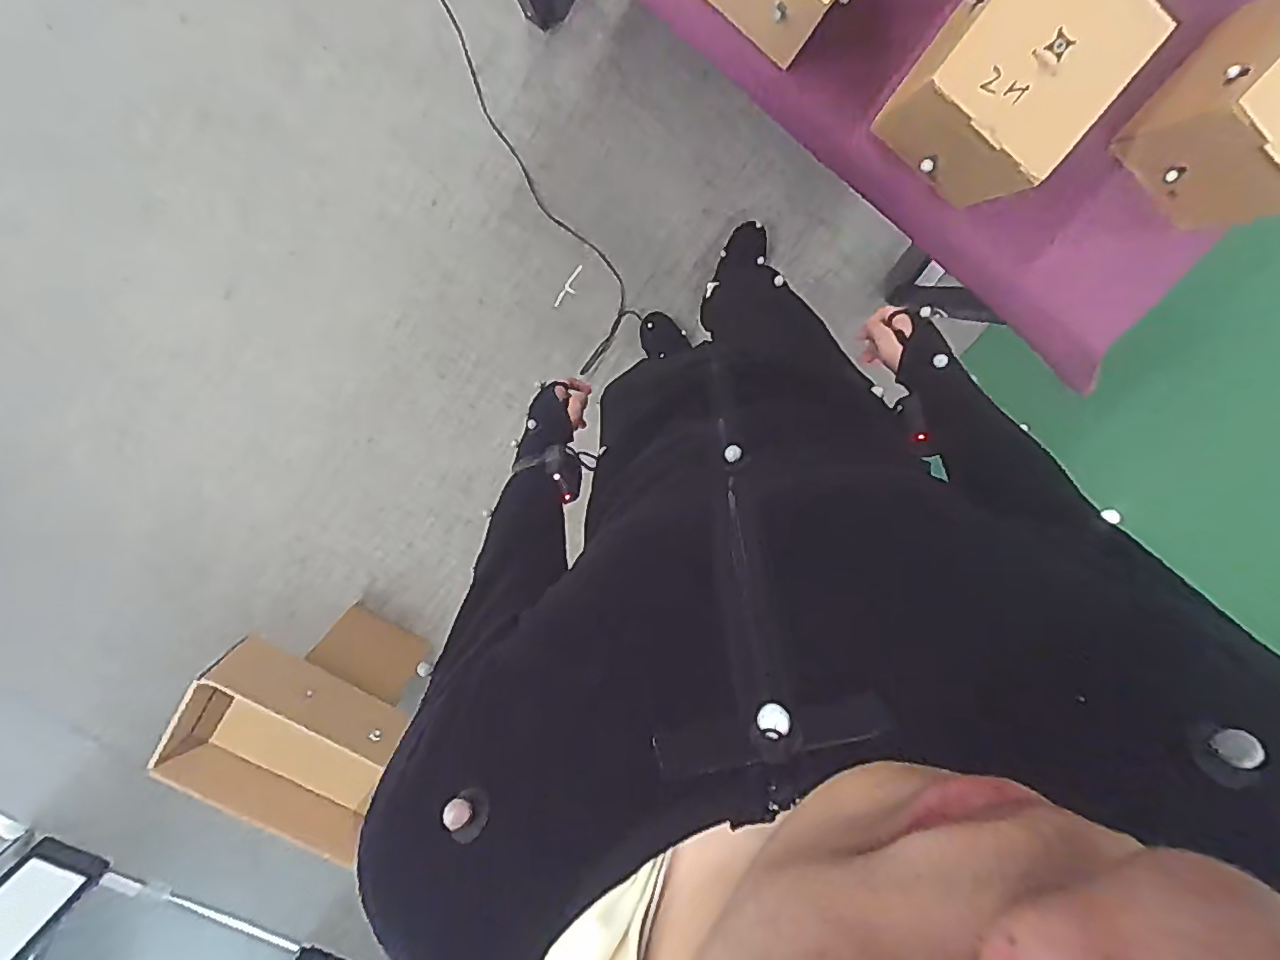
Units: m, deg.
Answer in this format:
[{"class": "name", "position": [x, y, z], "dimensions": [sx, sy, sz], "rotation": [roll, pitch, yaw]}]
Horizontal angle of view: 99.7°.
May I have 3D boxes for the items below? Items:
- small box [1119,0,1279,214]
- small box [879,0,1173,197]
[{"class": "small box", "position": [0.724, -0.435, 0.615], "dimensions": [0.168, 0.176, 0.179], "rotation": [36, 108, -10]}, {"class": "small box", "position": [0.412, -0.459, 0.615], "dimensions": [0.168, 0.176, 0.179], "rotation": [35, 107, -10]}]
